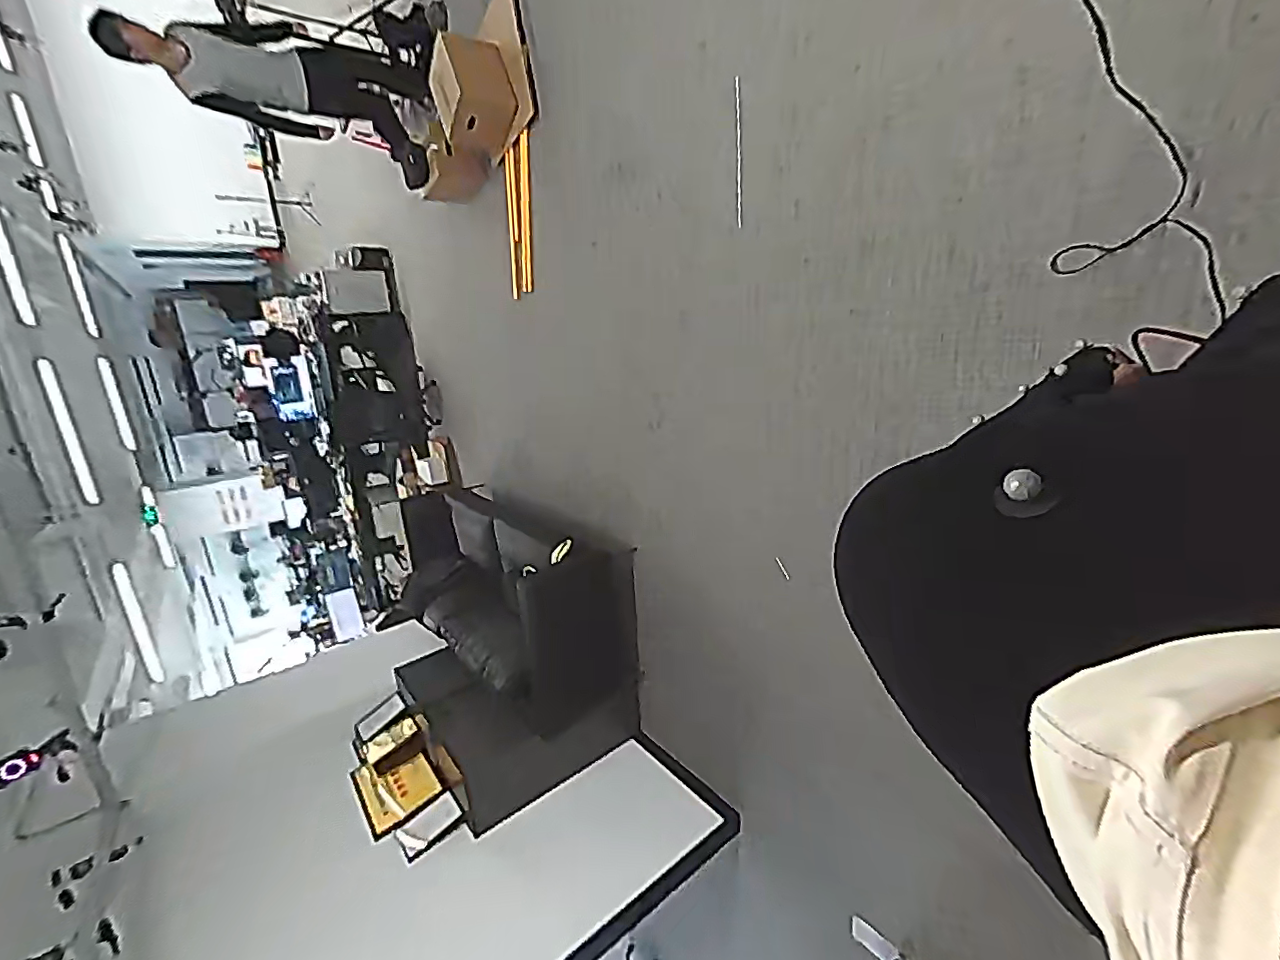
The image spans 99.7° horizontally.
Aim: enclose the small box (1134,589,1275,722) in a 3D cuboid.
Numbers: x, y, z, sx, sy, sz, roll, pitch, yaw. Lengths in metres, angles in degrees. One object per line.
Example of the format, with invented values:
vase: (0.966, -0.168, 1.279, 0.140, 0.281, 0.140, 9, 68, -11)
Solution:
small box: (1.191, 0.360, 1.140, 0.168, 0.176, 0.179, 21, 119, 46)
